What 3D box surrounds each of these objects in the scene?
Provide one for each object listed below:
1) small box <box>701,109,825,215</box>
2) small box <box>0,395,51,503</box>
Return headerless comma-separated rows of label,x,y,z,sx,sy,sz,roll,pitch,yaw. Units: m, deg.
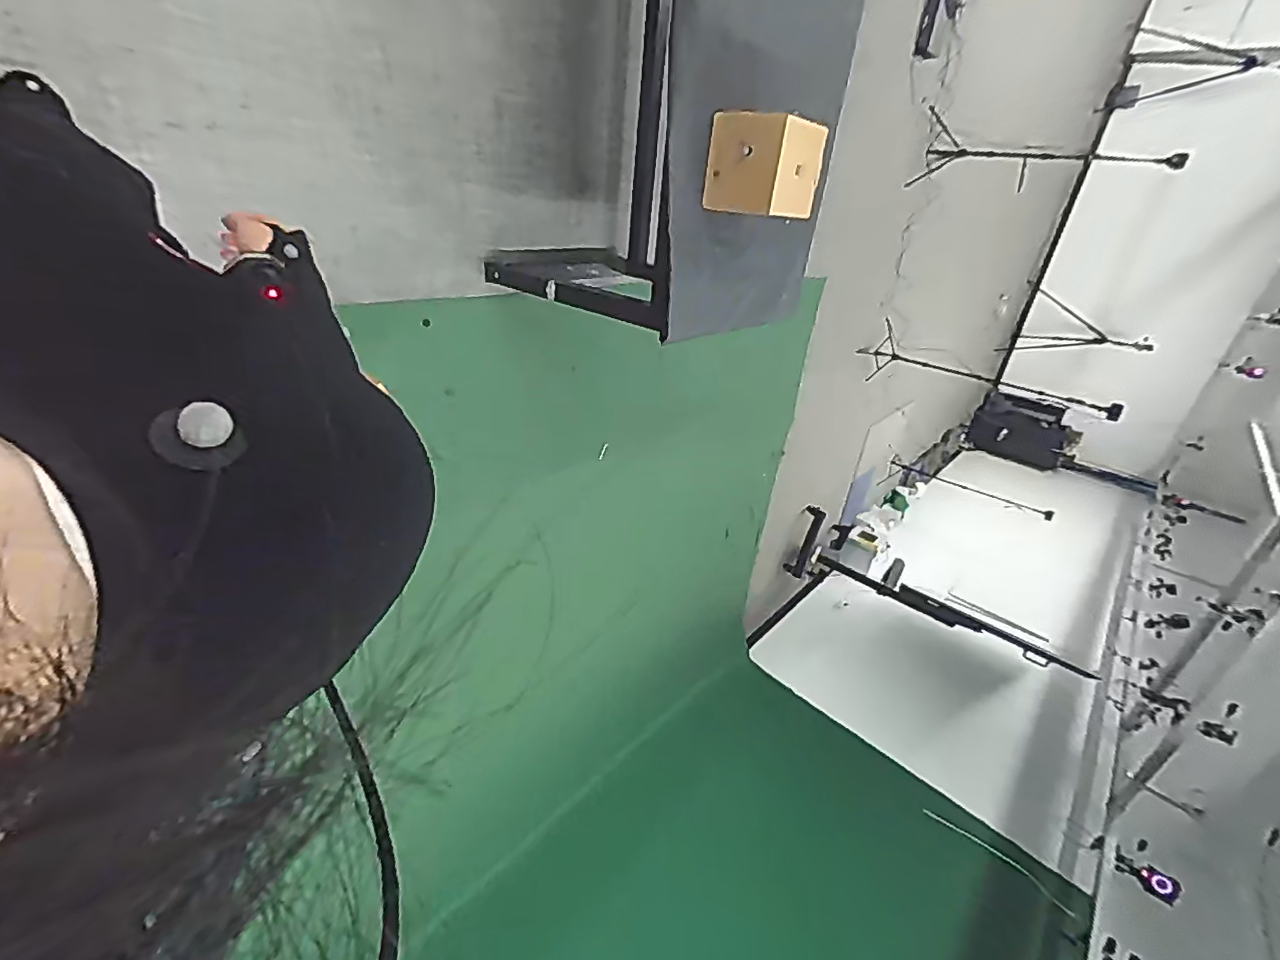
small box,0.243,-0.638,1.095,0.179,0.176,0.168,-25,131,-44
small box,-1.185,-0.057,0.935,0.168,0.176,0.179,-32,136,-36
